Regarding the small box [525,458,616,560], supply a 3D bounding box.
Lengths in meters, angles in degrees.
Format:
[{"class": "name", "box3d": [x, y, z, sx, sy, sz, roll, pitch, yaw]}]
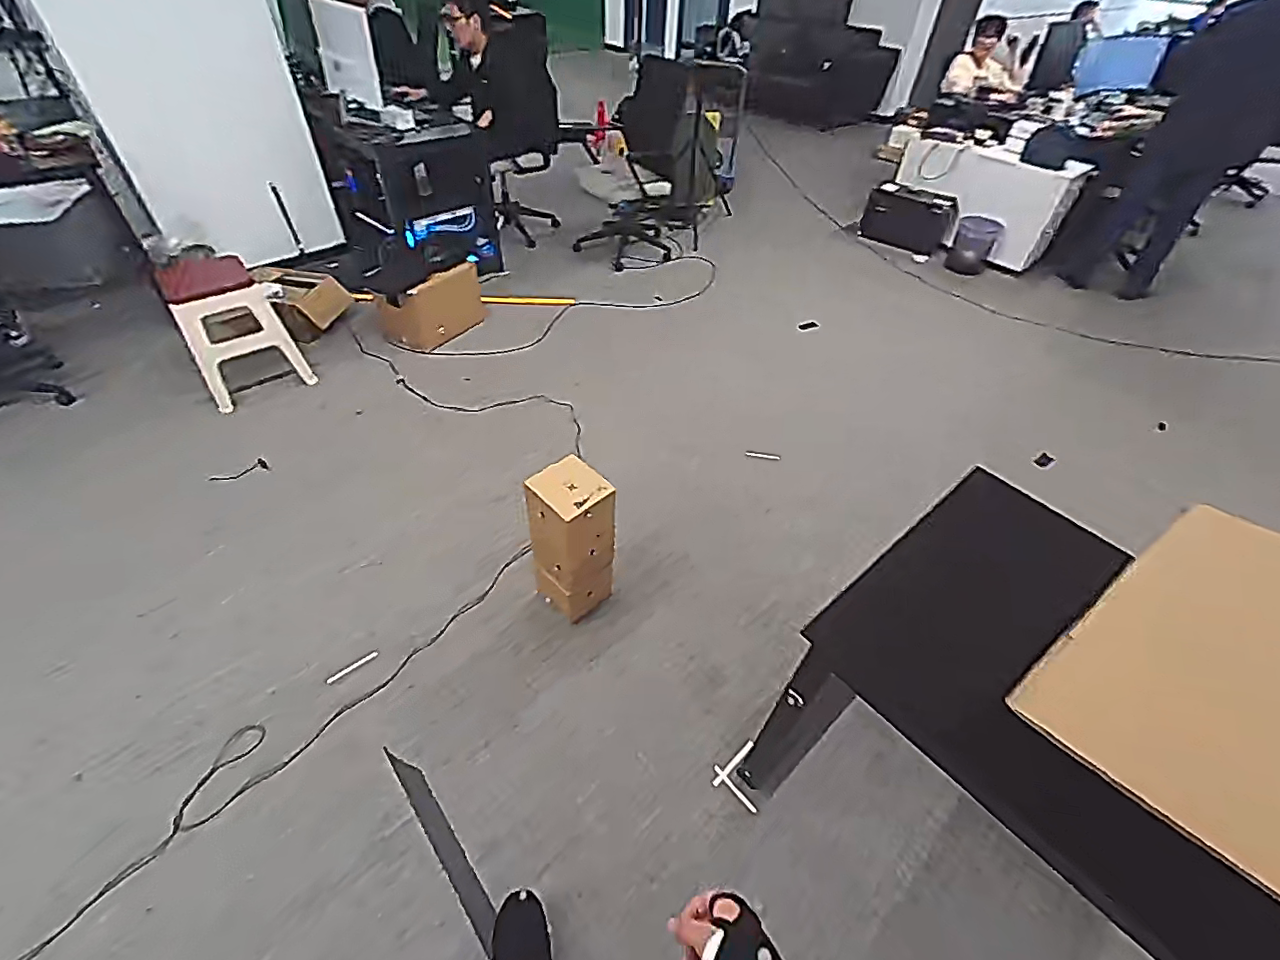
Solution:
[{"class": "small box", "box3d": [-0.183, 0.079, 1.438, 0.179, 0.176, 0.168, 37, 54, 28]}]

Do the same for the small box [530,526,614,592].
[{"class": "small box", "box3d": [-0.192, 0.190, 1.558, 0.168, 0.176, 0.179, 35, 51, 25]}]

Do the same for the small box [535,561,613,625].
[{"class": "small box", "box3d": [-0.203, 0.308, 1.669, 0.168, 0.176, 0.179, 37, 55, 28]}]
